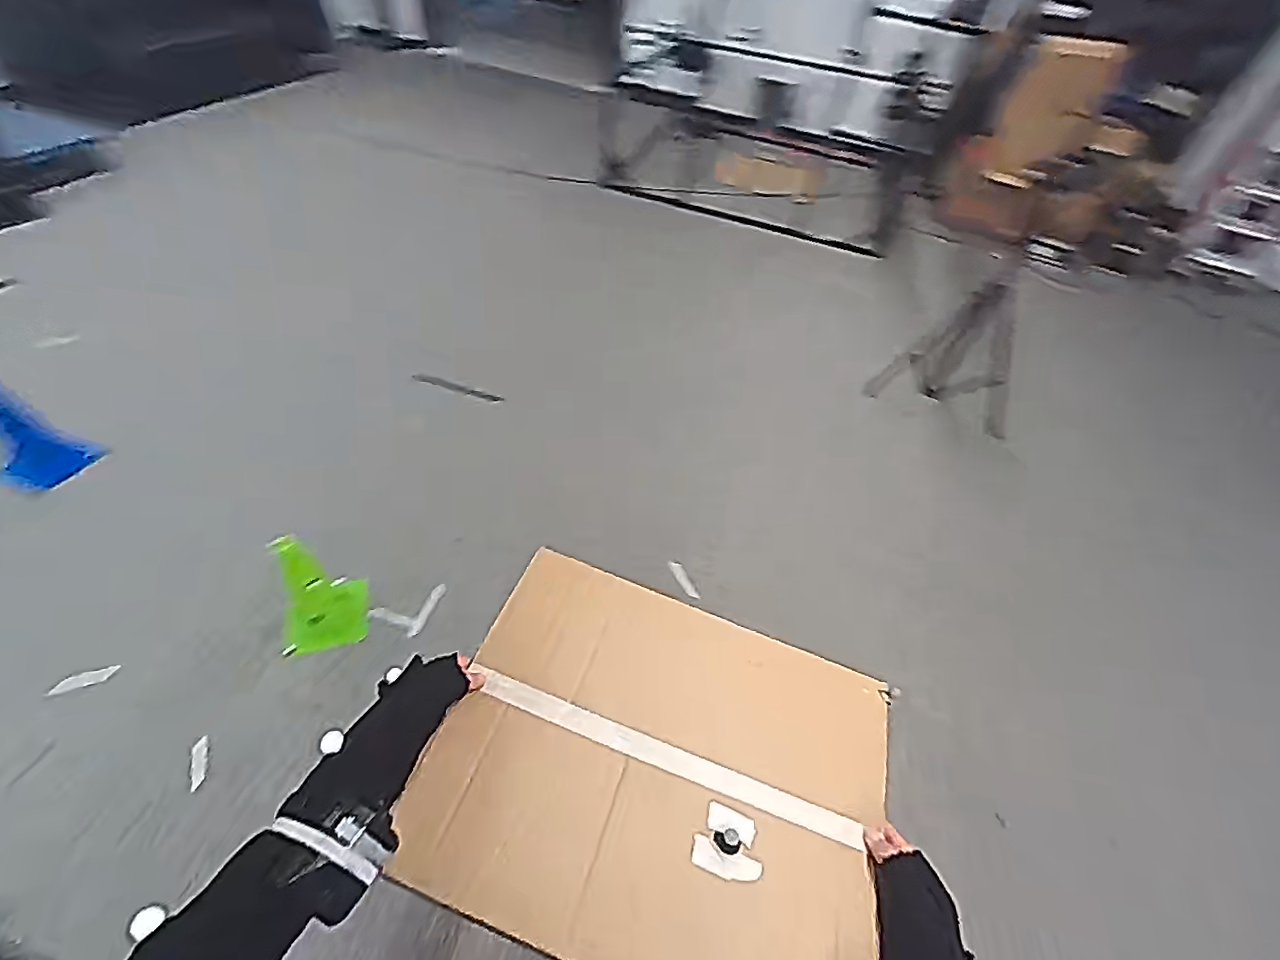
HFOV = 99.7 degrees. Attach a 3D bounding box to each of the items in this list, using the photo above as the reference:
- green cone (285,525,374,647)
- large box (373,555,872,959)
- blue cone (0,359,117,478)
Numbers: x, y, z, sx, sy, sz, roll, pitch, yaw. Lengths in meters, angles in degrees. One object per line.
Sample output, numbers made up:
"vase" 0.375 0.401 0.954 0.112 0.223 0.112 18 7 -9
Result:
"green cone" -0.841 0.248 1.409 0.200 0.368 0.202 -9 49 -19
"large box" -0.007 0.347 0.611 0.408 0.320 0.320 21 49 4
"blue cone" -1.851 -0.200 1.655 0.193 0.380 0.192 21 47 9
